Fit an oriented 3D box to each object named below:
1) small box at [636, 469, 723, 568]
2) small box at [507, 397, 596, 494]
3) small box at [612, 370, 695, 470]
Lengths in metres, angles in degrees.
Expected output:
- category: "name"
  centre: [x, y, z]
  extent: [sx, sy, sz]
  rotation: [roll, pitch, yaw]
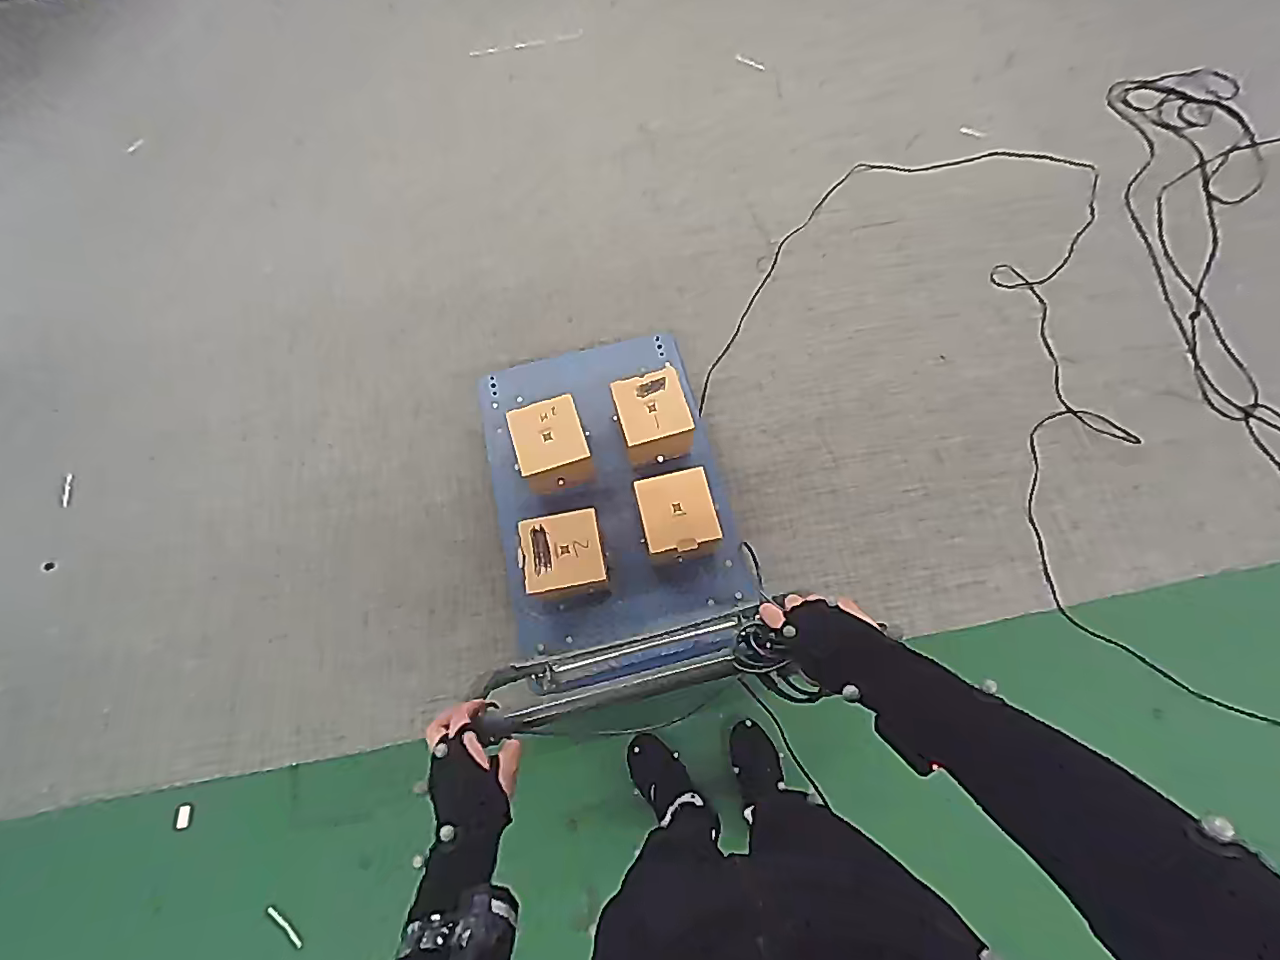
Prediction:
- category: "small box"
  centre: [0.087, 0.096, 1.285]
  extent: [0.168, 0.176, 0.179]
  rotation: [-13, 72, -3]
- category: "small box"
  centre: [-0.215, -0.076, 1.351]
  extent: [0.168, 0.176, 0.179]
  rotation: [-17, 71, -5]
- category: "small box"
  centre: [0.032, -0.146, 1.368]
  extent: [0.168, 0.176, 0.179]
  rotation: [-16, 72, -3]
